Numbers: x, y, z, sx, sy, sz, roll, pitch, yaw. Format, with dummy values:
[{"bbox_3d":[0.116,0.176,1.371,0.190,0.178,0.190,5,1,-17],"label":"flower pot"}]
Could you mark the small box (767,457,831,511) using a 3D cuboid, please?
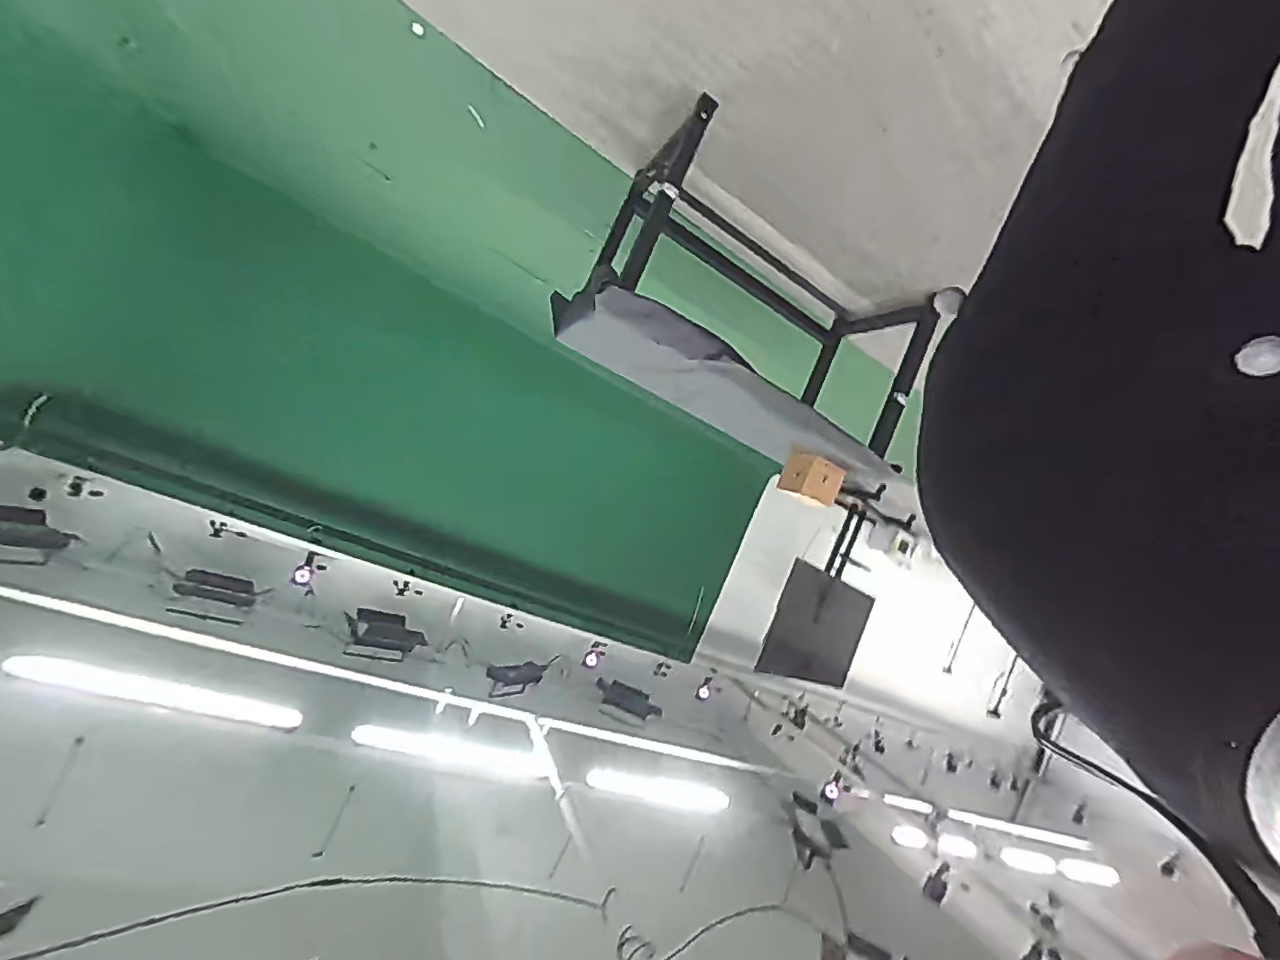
[{"bbox_3d":[0.659,0.014,2.218,0.168,0.176,0.179,26,174,-21],"label":"small box"}]
